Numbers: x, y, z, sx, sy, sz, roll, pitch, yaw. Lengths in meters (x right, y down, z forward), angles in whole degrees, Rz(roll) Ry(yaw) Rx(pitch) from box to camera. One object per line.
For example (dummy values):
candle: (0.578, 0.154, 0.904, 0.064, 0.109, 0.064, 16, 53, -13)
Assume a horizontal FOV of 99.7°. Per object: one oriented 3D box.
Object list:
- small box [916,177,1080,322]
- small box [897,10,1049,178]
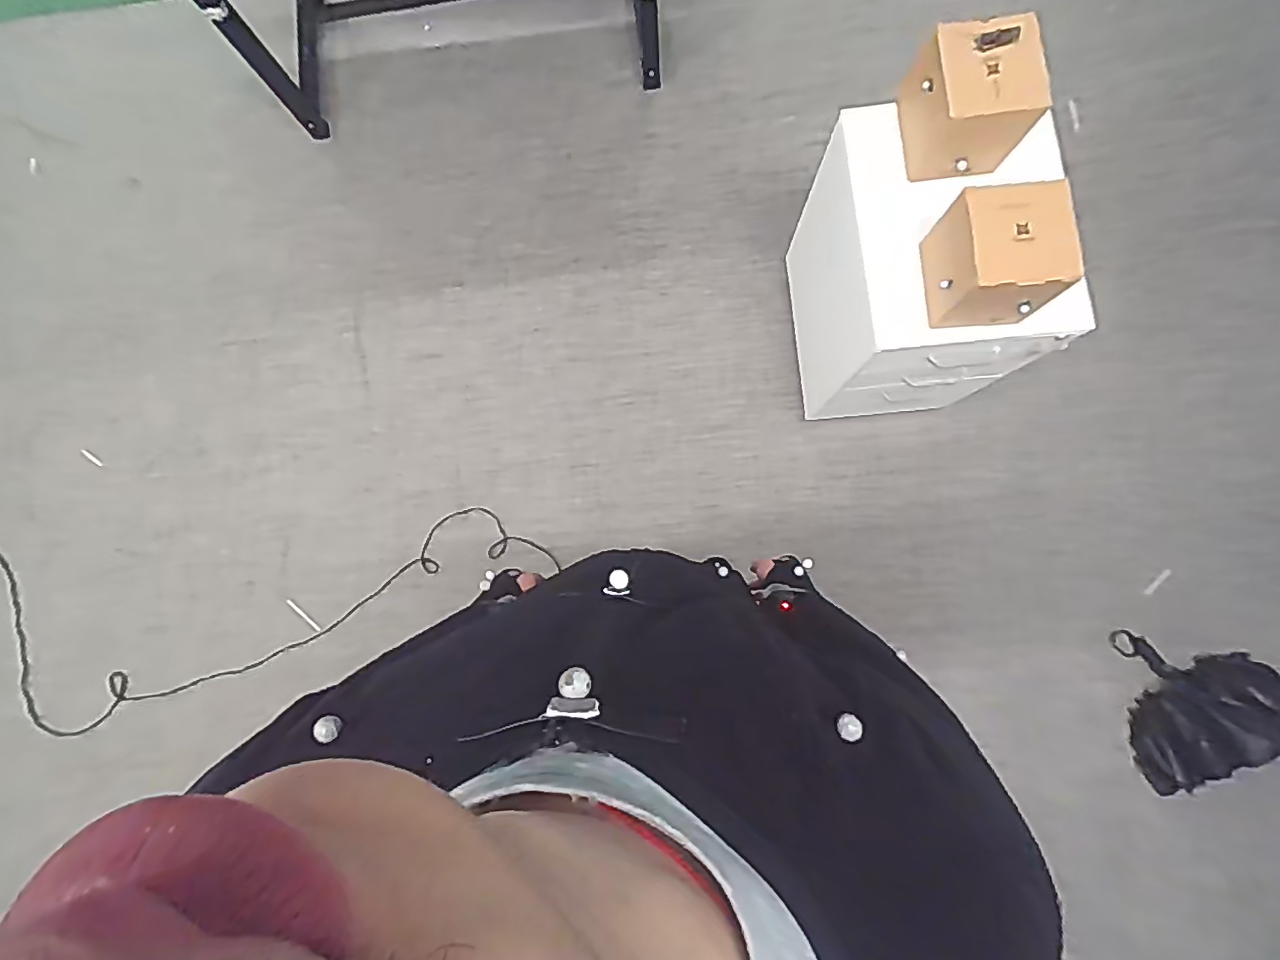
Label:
small box: (0.609, -0.388, 0.943, 0.168, 0.176, 0.179, -4, 81, 1)
small box: (0.586, -0.685, 0.976, 0.168, 0.176, 0.179, -6, 85, 2)
